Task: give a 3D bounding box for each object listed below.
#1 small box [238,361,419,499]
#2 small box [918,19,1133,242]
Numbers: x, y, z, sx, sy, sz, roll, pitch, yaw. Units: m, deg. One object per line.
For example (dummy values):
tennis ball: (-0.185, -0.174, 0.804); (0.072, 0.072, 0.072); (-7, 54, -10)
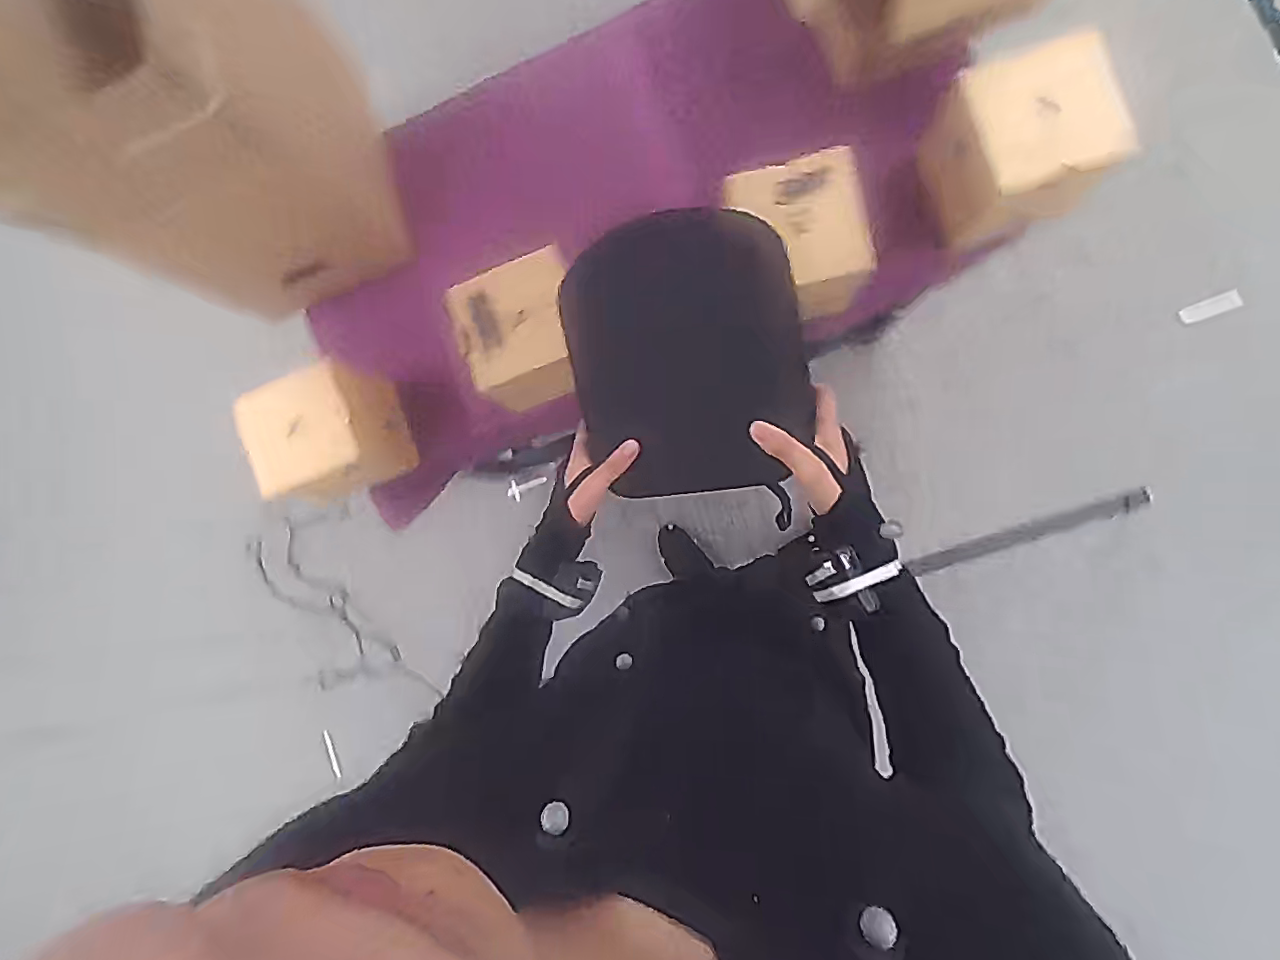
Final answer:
small box: (-0.512, -0.072, 0.909); (0.179, 0.176, 0.168); (-24, 84, 6)
small box: (0.522, -0.476, 0.764); (0.168, 0.176, 0.179); (-16, 85, 9)
